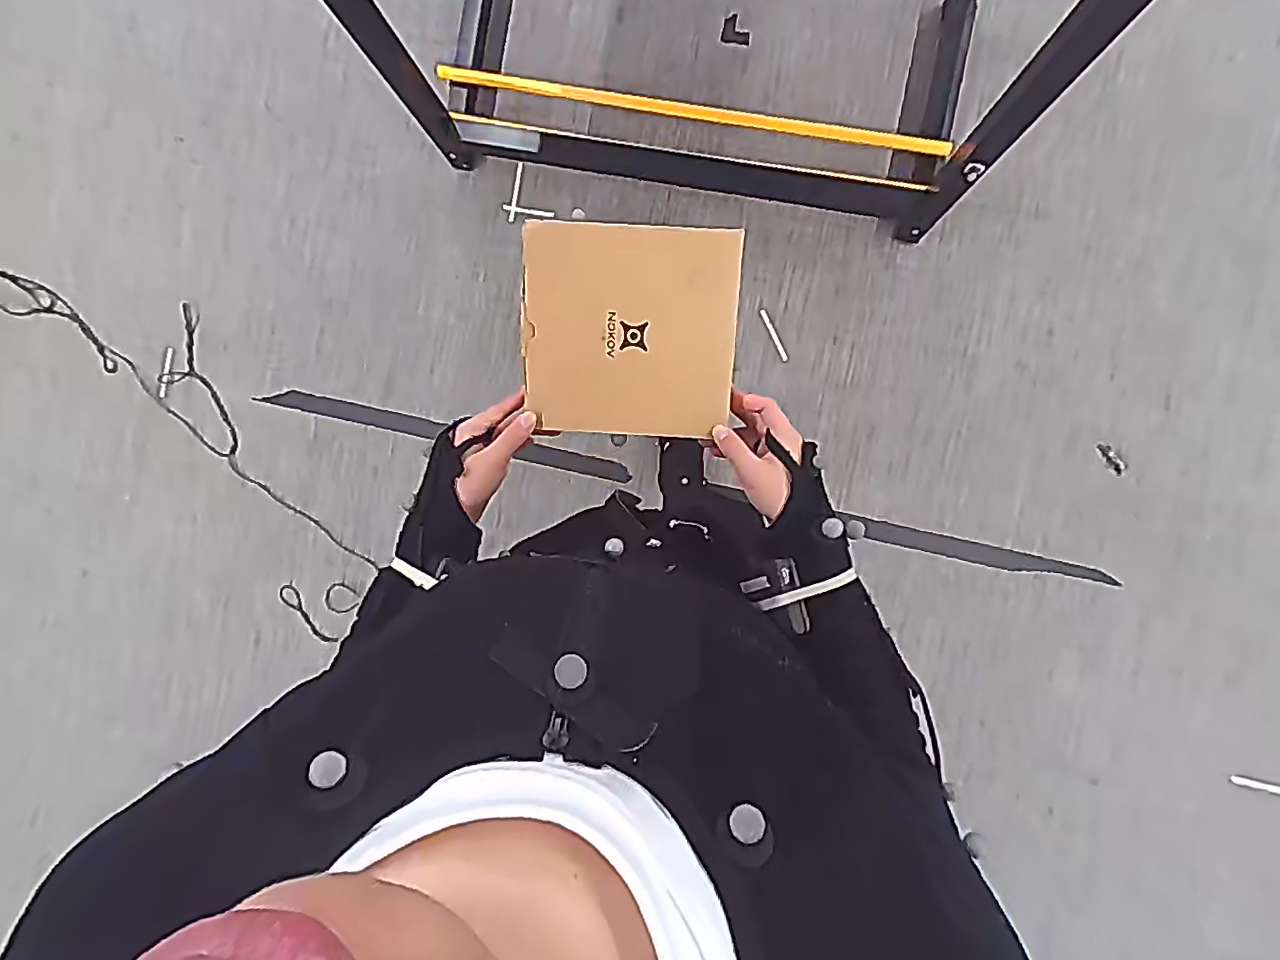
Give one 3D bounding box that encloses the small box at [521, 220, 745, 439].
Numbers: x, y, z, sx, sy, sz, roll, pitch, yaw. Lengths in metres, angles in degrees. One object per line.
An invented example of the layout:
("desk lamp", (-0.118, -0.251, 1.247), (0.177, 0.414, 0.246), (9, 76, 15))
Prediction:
("small box", (-0.005, -0.139, 0.512), (0.179, 0.176, 0.168), (3, 105, 3))
